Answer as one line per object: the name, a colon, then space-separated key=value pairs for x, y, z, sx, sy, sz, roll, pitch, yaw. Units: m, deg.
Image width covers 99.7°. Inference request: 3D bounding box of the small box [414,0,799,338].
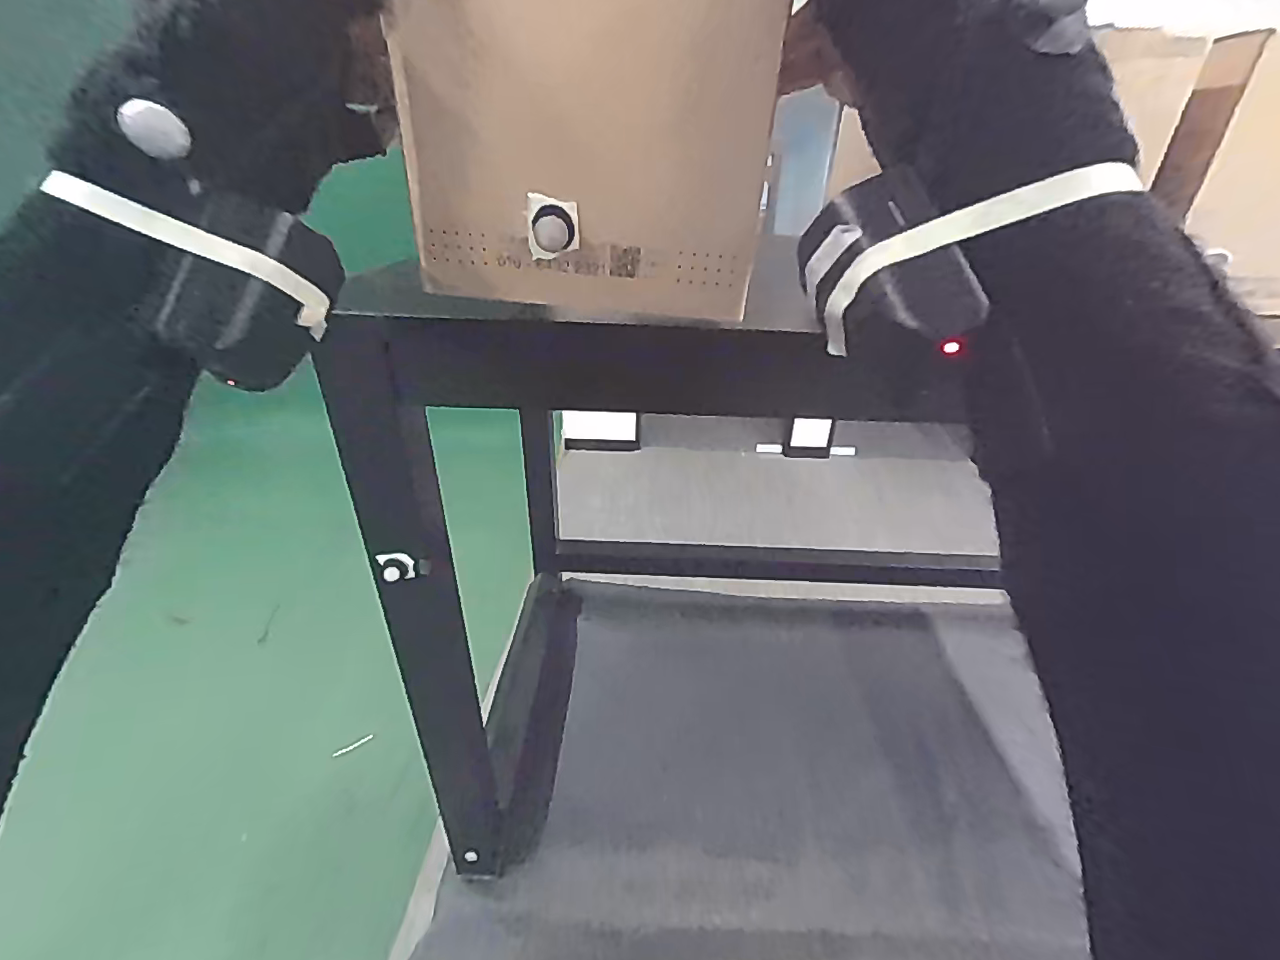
small box: x=-0.017 y=-0.196 z=0.317 sx=0.168 sy=0.176 sz=0.179 roll=4 pitch=33 yaw=1
